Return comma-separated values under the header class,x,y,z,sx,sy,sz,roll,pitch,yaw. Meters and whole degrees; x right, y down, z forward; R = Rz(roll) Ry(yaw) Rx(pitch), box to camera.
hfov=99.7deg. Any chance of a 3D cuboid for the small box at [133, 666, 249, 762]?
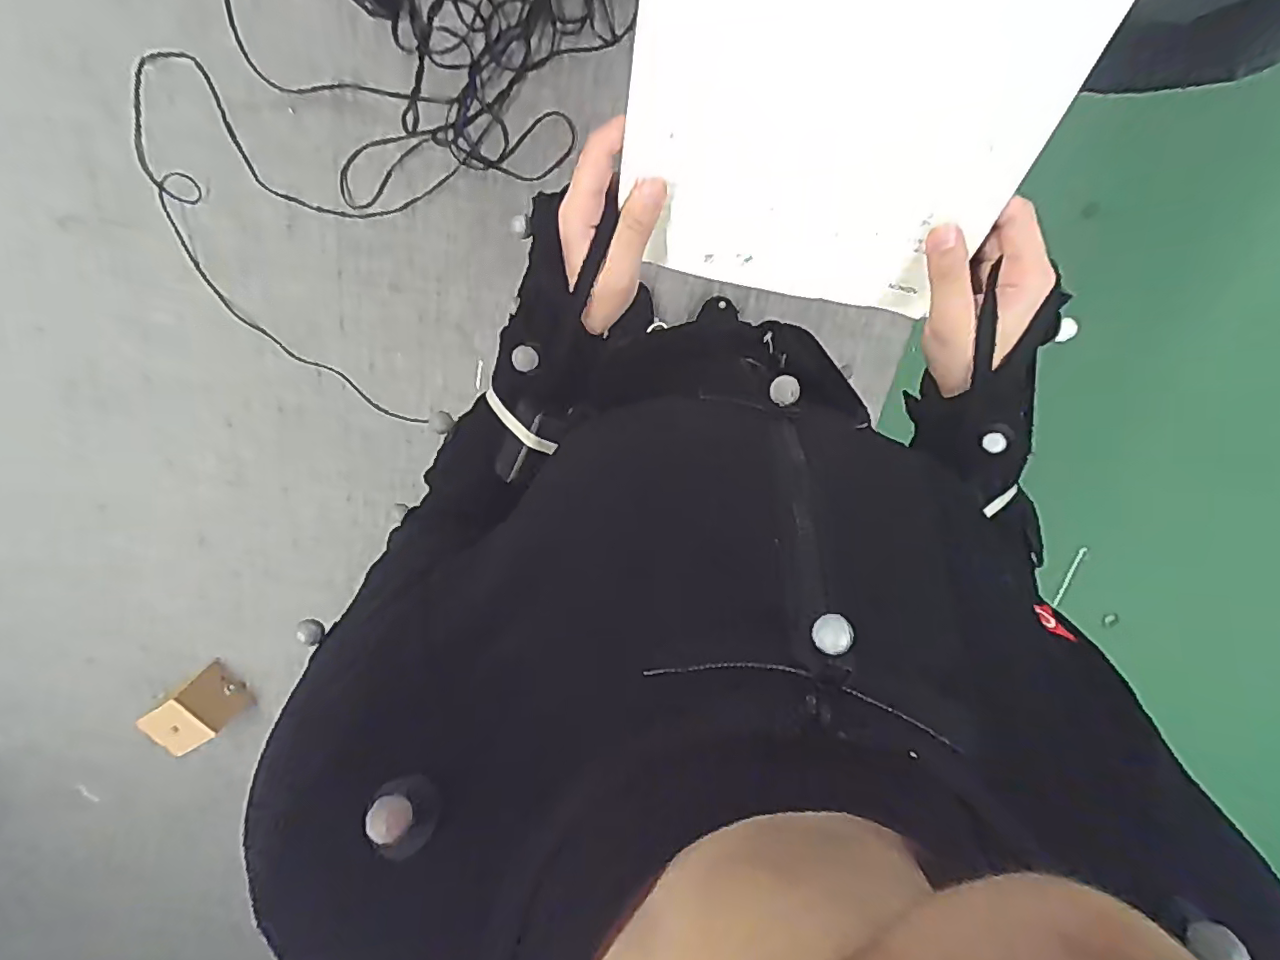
class,x,y,z,sx,sy,sz,roll,pitch,yaw
small box,-1.348,0.705,1.637,0.179,0.176,0.168,-31,108,12
